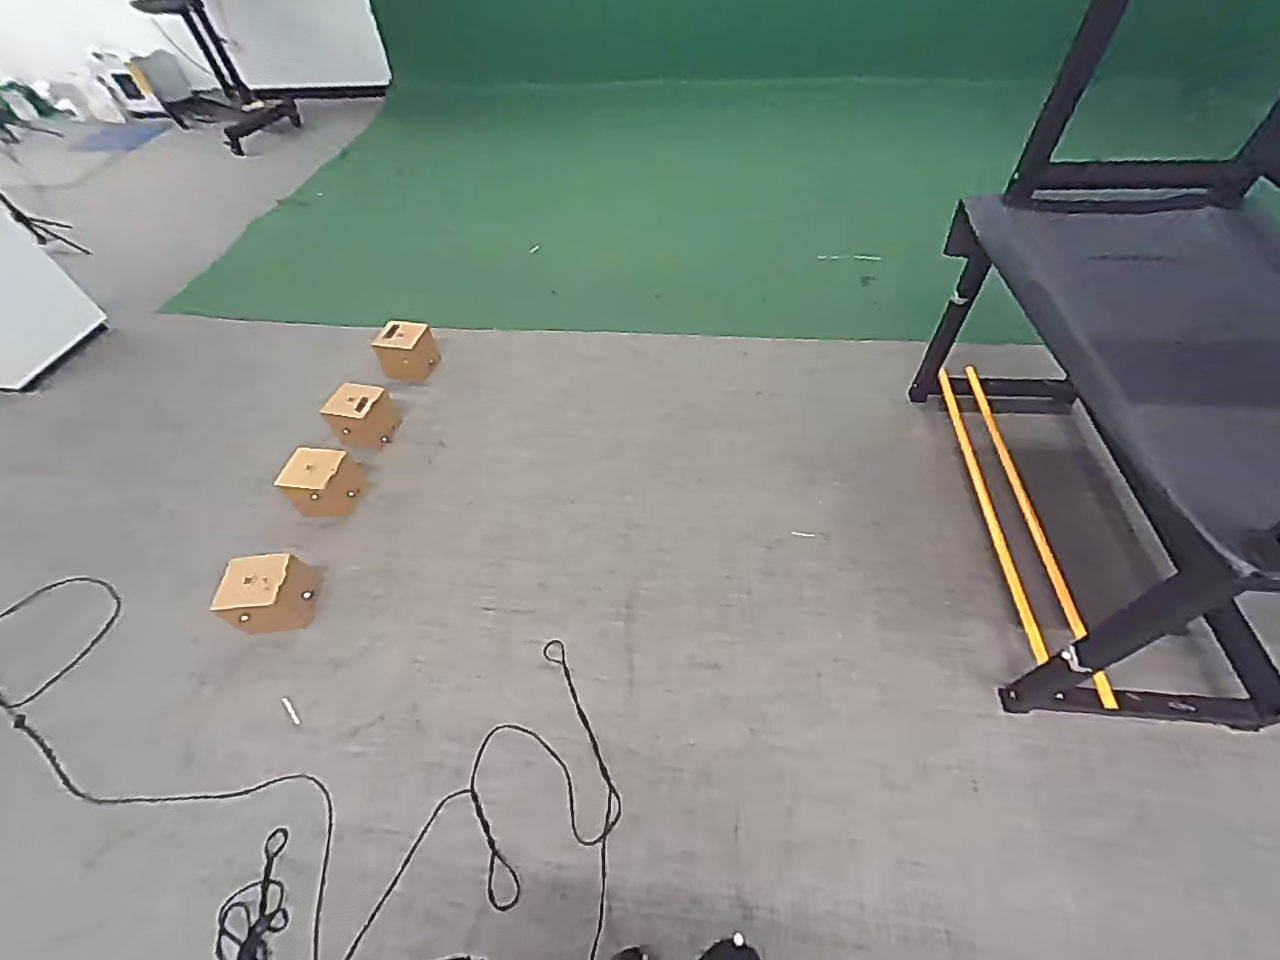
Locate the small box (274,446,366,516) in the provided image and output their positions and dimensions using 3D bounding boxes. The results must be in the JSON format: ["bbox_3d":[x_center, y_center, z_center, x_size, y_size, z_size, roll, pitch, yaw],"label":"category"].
[{"bbox_3d":[-1.068,0.006,1.819,0.179,0.176,0.168,4,53,6],"label":"small box"}]

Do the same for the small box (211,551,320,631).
[{"bbox_3d":[-1.075,0.326,1.569,0.179,0.176,0.168,-6,53,-1],"label":"small box"}]

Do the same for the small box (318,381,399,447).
[{"bbox_3d":[-1.035,-0.242,2.010,0.179,0.176,0.168,8,53,11],"label":"small box"}]
